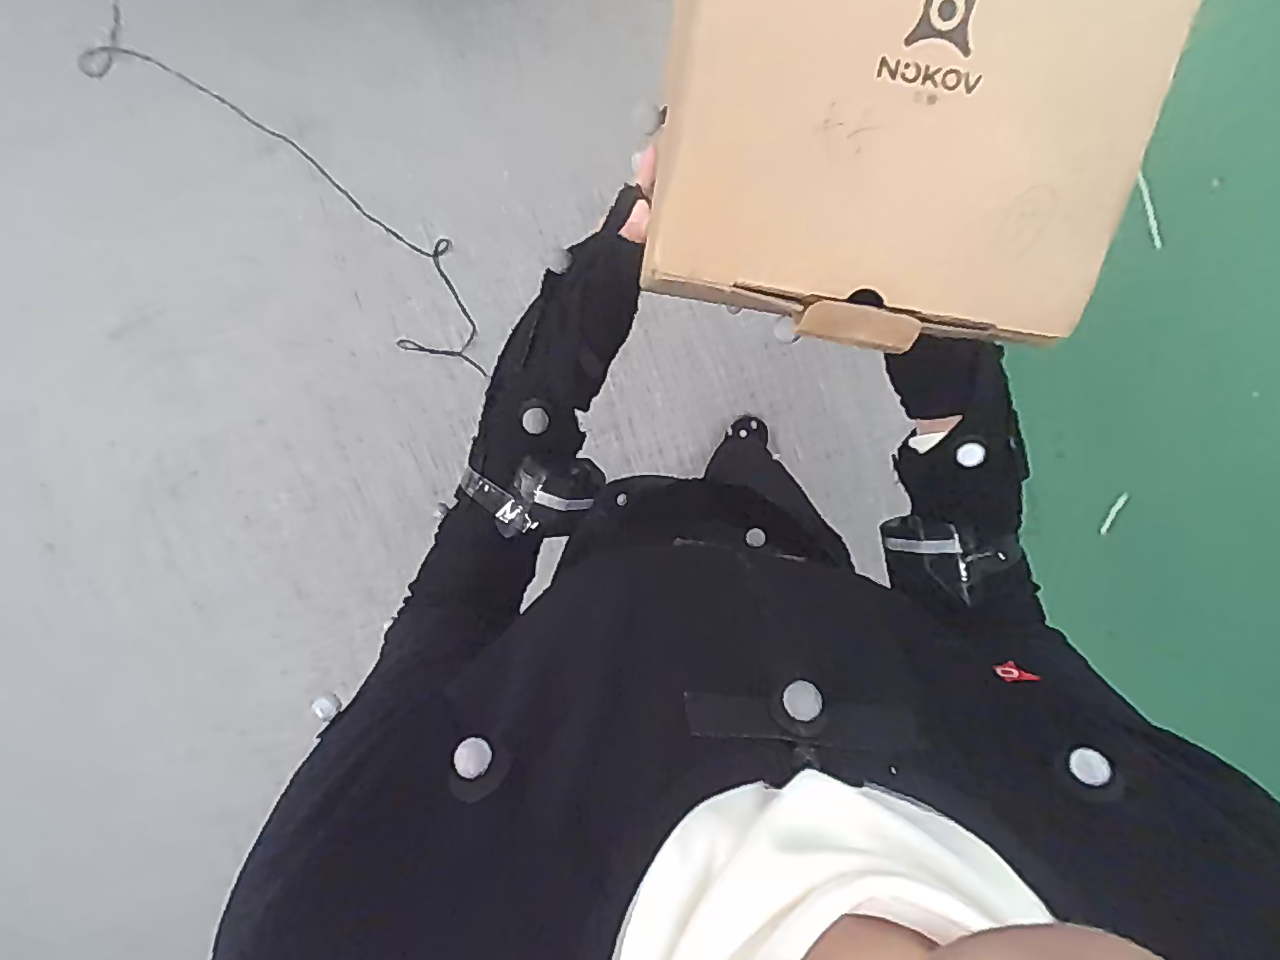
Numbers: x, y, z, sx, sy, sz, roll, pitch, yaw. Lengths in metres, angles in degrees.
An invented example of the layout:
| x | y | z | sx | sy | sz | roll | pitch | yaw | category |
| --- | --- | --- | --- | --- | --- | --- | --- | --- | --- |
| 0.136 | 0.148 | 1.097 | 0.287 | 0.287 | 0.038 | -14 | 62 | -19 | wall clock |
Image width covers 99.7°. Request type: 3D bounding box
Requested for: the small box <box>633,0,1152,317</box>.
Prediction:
| x | y | z | sx | sy | sz | roll | pitch | yaw | category |
| --- | --- | --- | --- | --- | --- | --- | --- | --- | --- |
| 0.091 | -0.185 | 0.264 | 0.168 | 0.176 | 0.179 | 8 | 108 | -3 | small box |
